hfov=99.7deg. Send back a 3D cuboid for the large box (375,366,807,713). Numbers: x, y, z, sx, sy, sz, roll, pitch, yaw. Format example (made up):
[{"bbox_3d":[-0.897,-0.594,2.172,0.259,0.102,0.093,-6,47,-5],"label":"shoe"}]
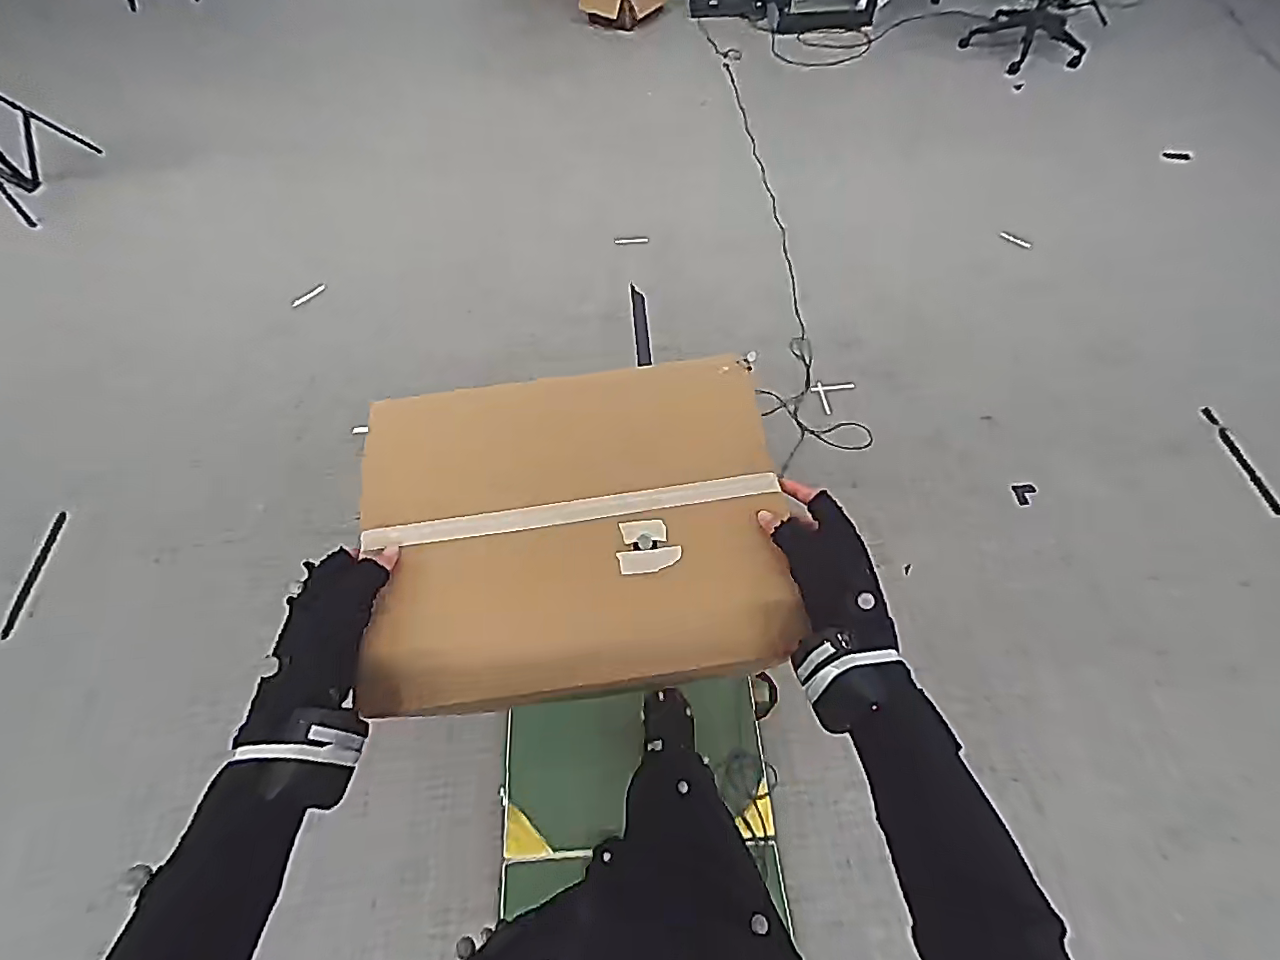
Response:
[{"bbox_3d":[-0.061,0.096,0.682,0.408,0.320,0.320,-8,67,-2],"label":"large box"}]
